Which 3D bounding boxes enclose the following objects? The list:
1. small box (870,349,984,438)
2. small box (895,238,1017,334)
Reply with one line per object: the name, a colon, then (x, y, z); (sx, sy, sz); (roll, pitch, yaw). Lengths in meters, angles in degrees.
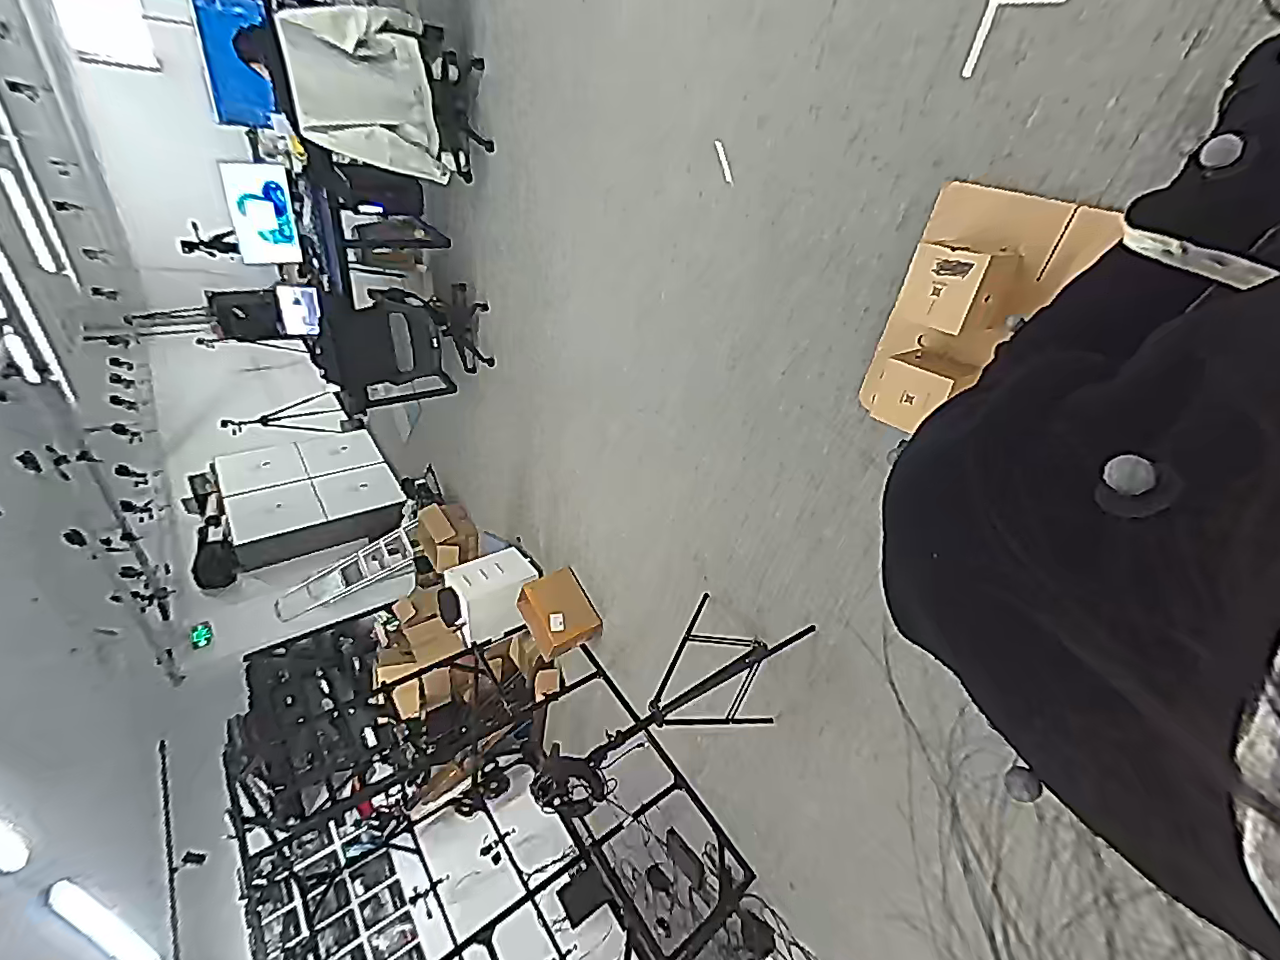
small box: (0.733, -0.229, 1.387); (0.179, 0.176, 0.168); (36, 133, 40)
small box: (0.741, -0.459, 1.265); (0.168, 0.176, 0.179); (38, 134, 39)
